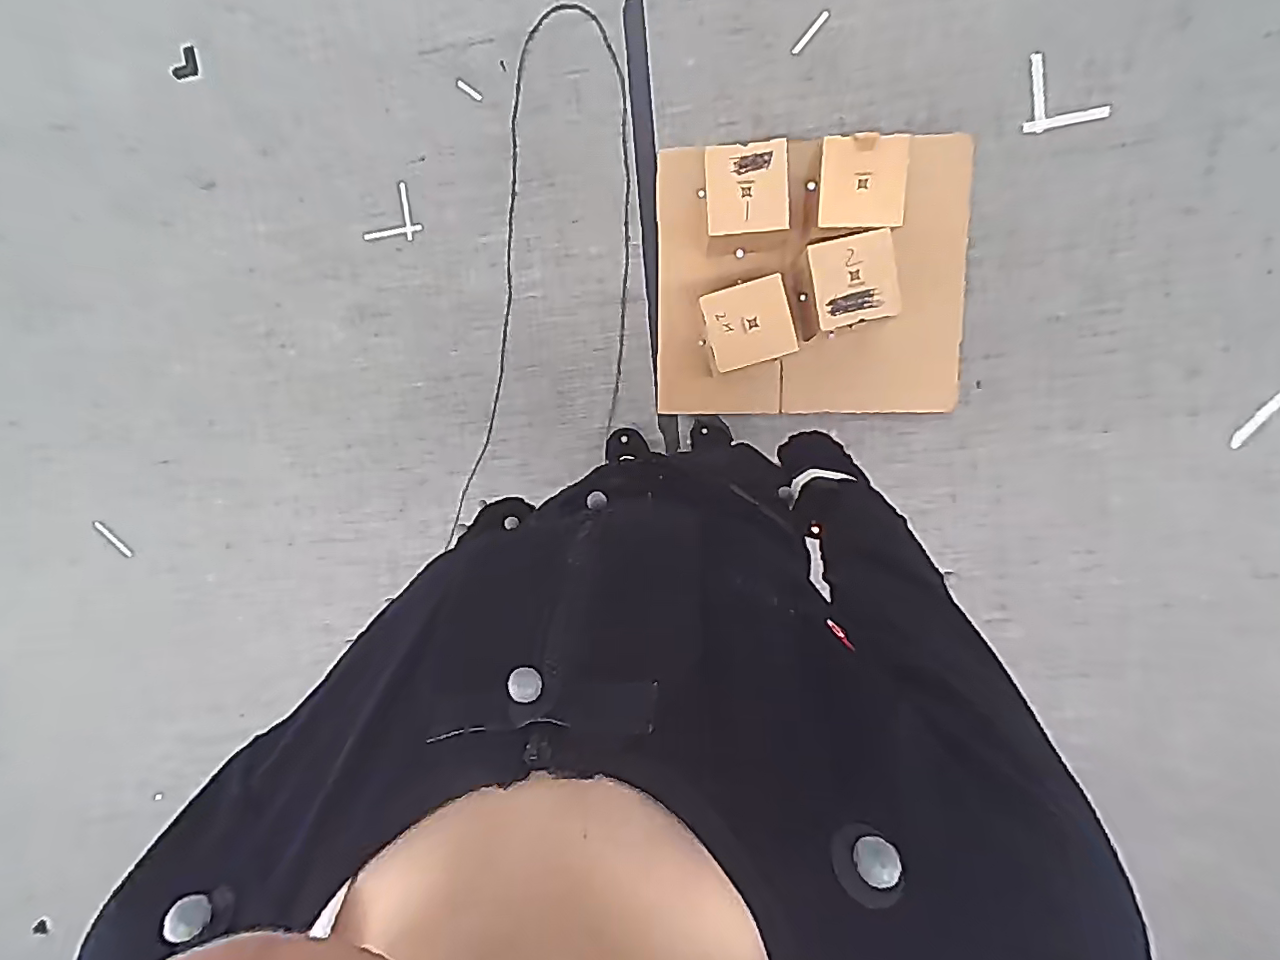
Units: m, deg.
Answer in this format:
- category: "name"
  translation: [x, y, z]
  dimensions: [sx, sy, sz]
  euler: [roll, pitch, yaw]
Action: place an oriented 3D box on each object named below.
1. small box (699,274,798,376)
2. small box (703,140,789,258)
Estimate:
- category: "small box"
  translation: [0.235, -0.337, 1.207]
  dimensions: [0.179, 0.176, 0.168]
  euler: [-14, 95, 7]
- category: "small box"
  translation: [0.225, -0.602, 1.176]
  dimensions: [0.168, 0.176, 0.179]
  euler: [-3, 98, 5]
